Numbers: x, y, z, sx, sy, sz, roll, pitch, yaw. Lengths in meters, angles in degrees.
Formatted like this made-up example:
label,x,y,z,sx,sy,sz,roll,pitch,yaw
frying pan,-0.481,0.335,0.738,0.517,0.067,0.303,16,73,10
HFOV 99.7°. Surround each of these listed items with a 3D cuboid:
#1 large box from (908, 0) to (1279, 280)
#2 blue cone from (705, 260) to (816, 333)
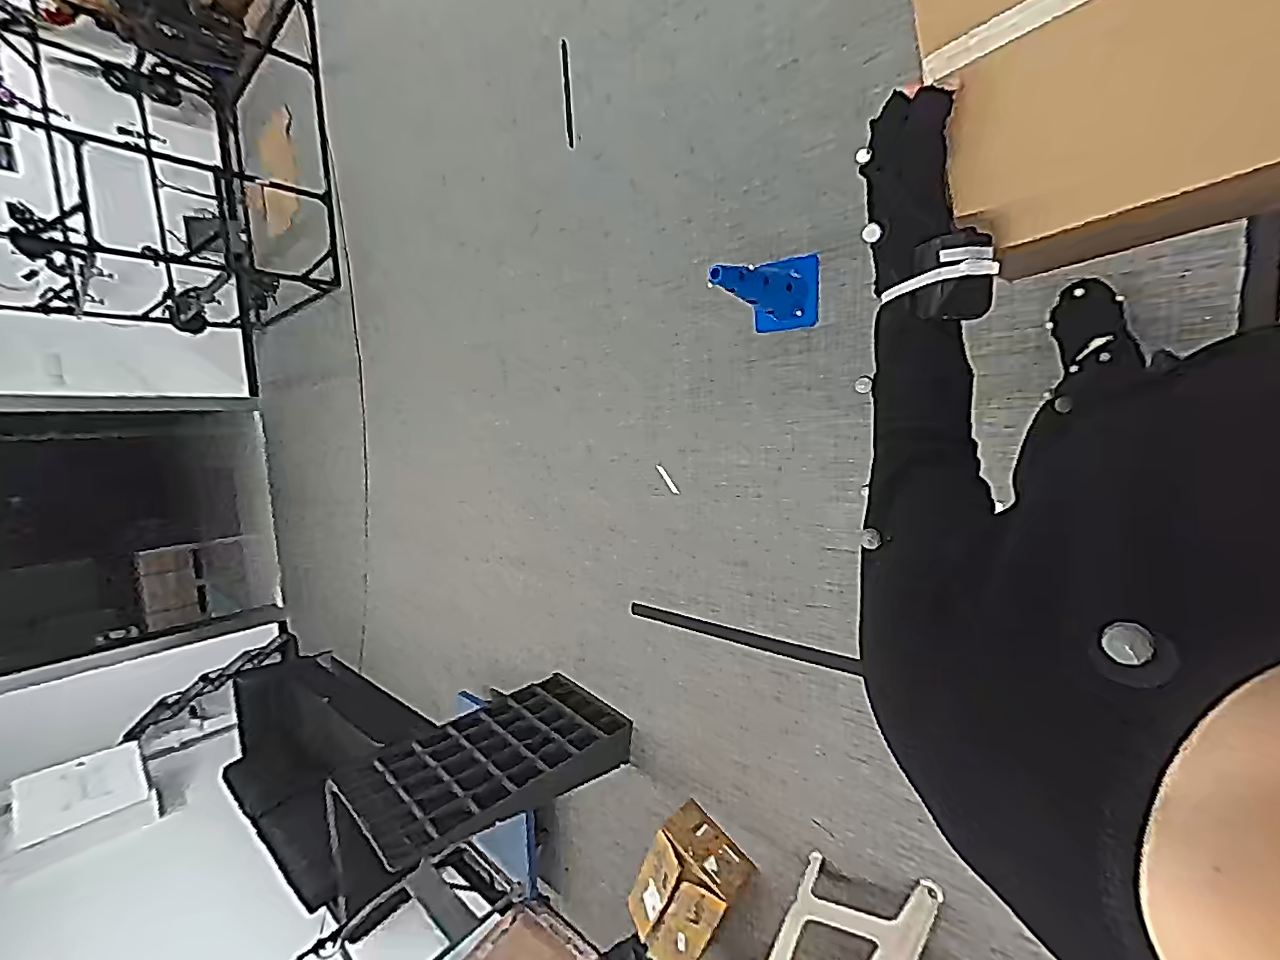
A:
label,x,y,z,sx,sy,sz,roll,pitch,yaw
large box,0.477,-0.391,0.435,0.408,0.320,0.320,-7,98,41
blue cone,0.310,-0.518,1.460,0.192,0.380,0.193,7,101,43
